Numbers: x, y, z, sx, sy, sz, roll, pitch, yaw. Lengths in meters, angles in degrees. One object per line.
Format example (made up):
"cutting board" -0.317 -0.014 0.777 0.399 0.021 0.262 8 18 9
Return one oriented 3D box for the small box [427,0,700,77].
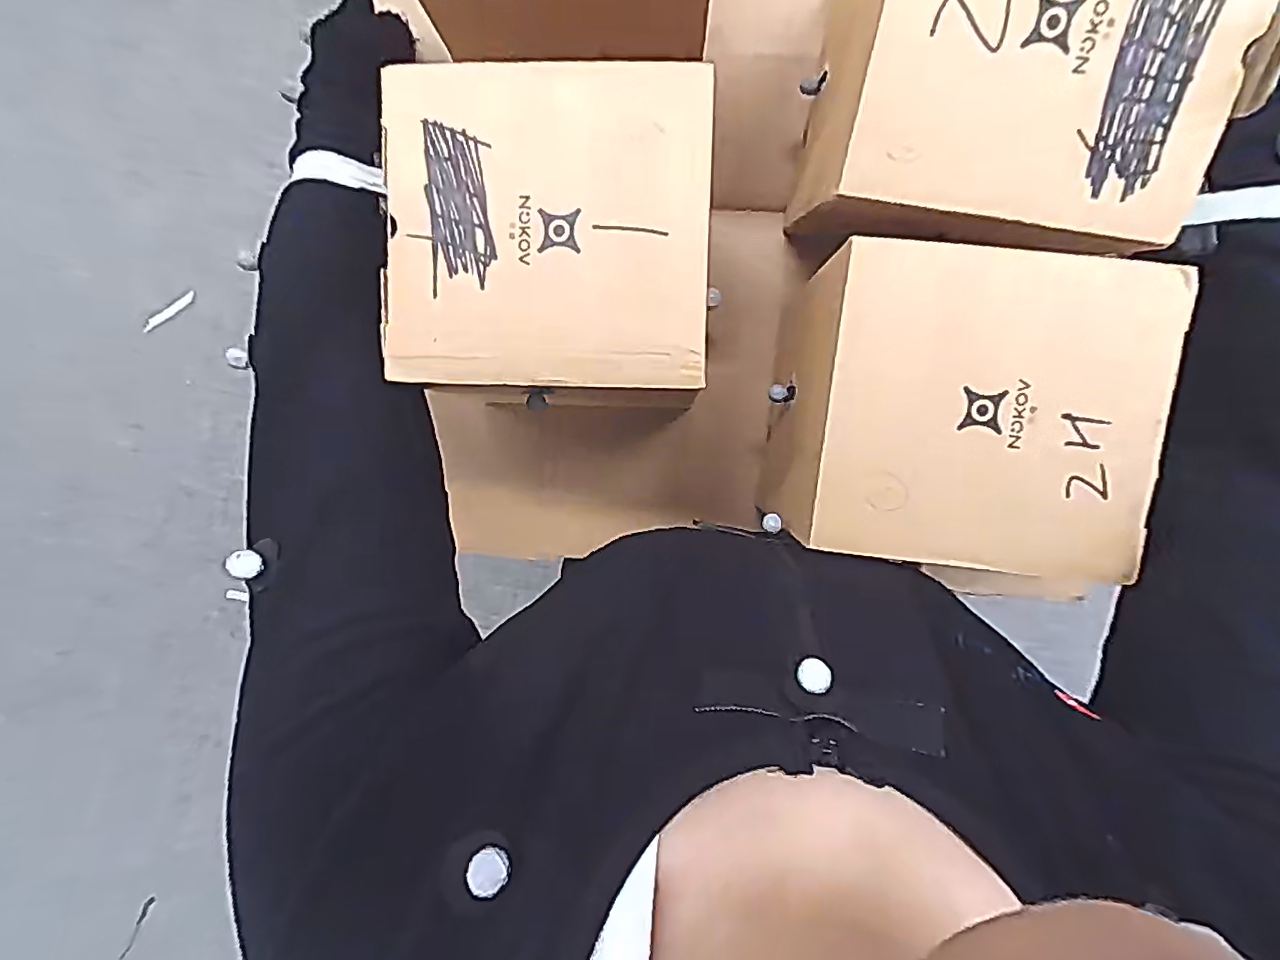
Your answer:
"small box" -0.050 -0.377 0.315 0.179 0.176 0.168 -2 96 4
